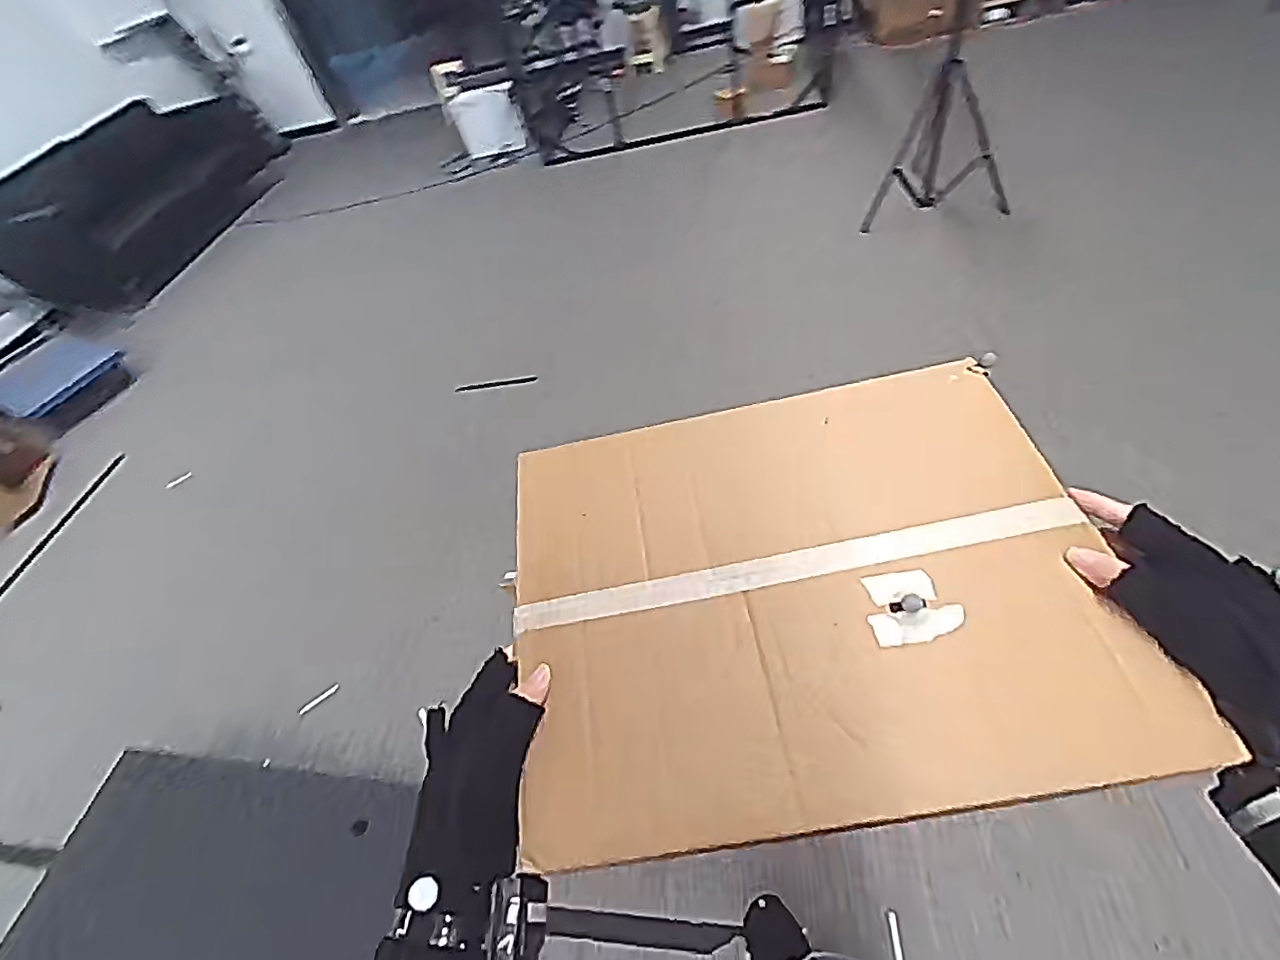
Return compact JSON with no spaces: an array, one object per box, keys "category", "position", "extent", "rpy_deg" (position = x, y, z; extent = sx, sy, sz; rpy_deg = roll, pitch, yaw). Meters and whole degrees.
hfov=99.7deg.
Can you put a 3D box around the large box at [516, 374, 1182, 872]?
[{"category":"large box","position":[0.125,0.153,0.528],"extent":[0.408,0.320,0.320],"rpy_deg":[-13,56,3]}]
